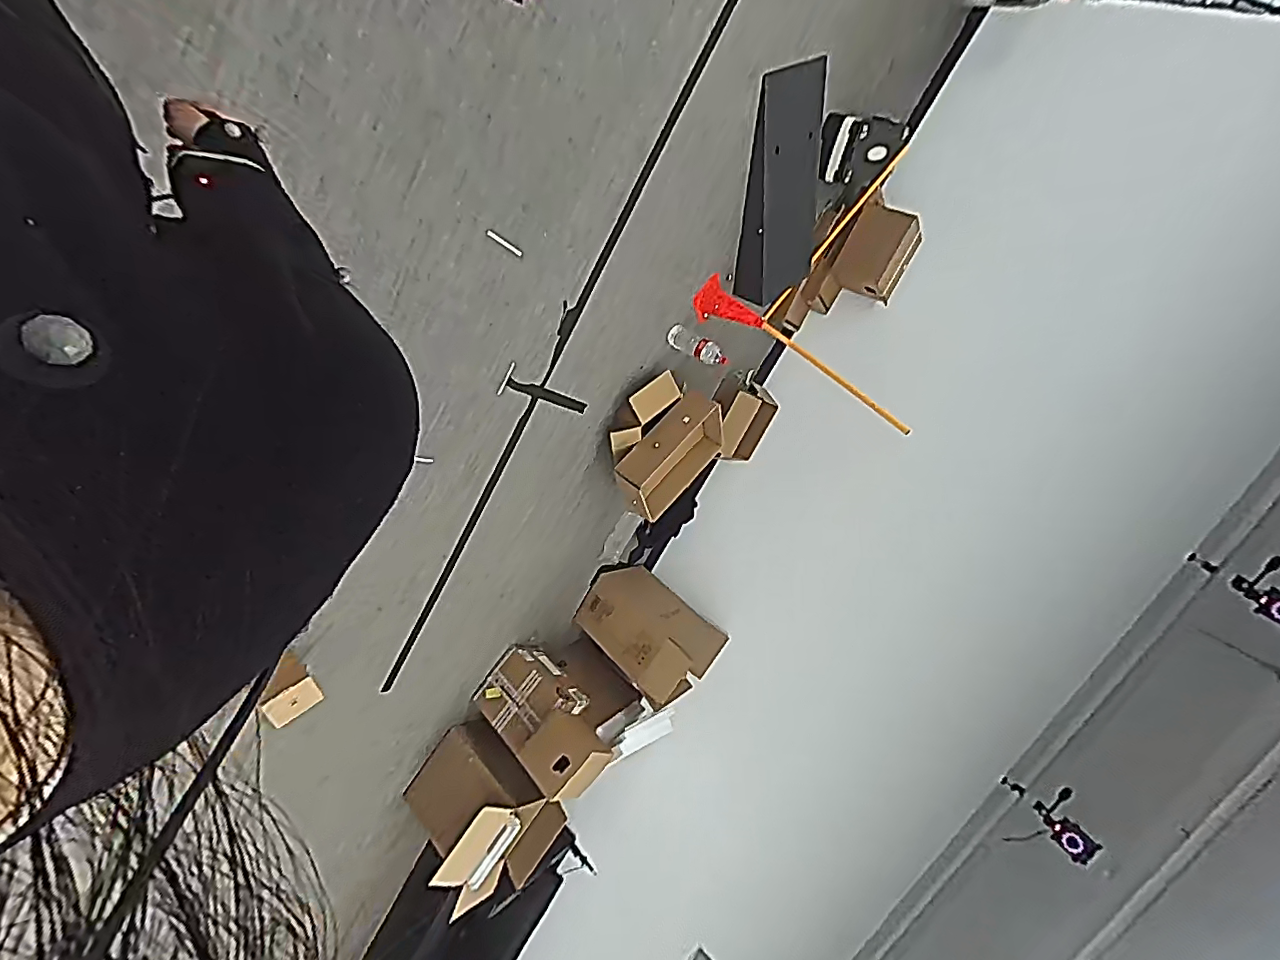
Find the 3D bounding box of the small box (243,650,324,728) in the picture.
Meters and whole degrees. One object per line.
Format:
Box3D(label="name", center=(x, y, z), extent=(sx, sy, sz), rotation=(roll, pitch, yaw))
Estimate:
Box3D(label="small box", center=(-1.275, 0.738, 1.930), extent=(0.168, 0.176, 0.179), rotation=(-33, 147, -34))
